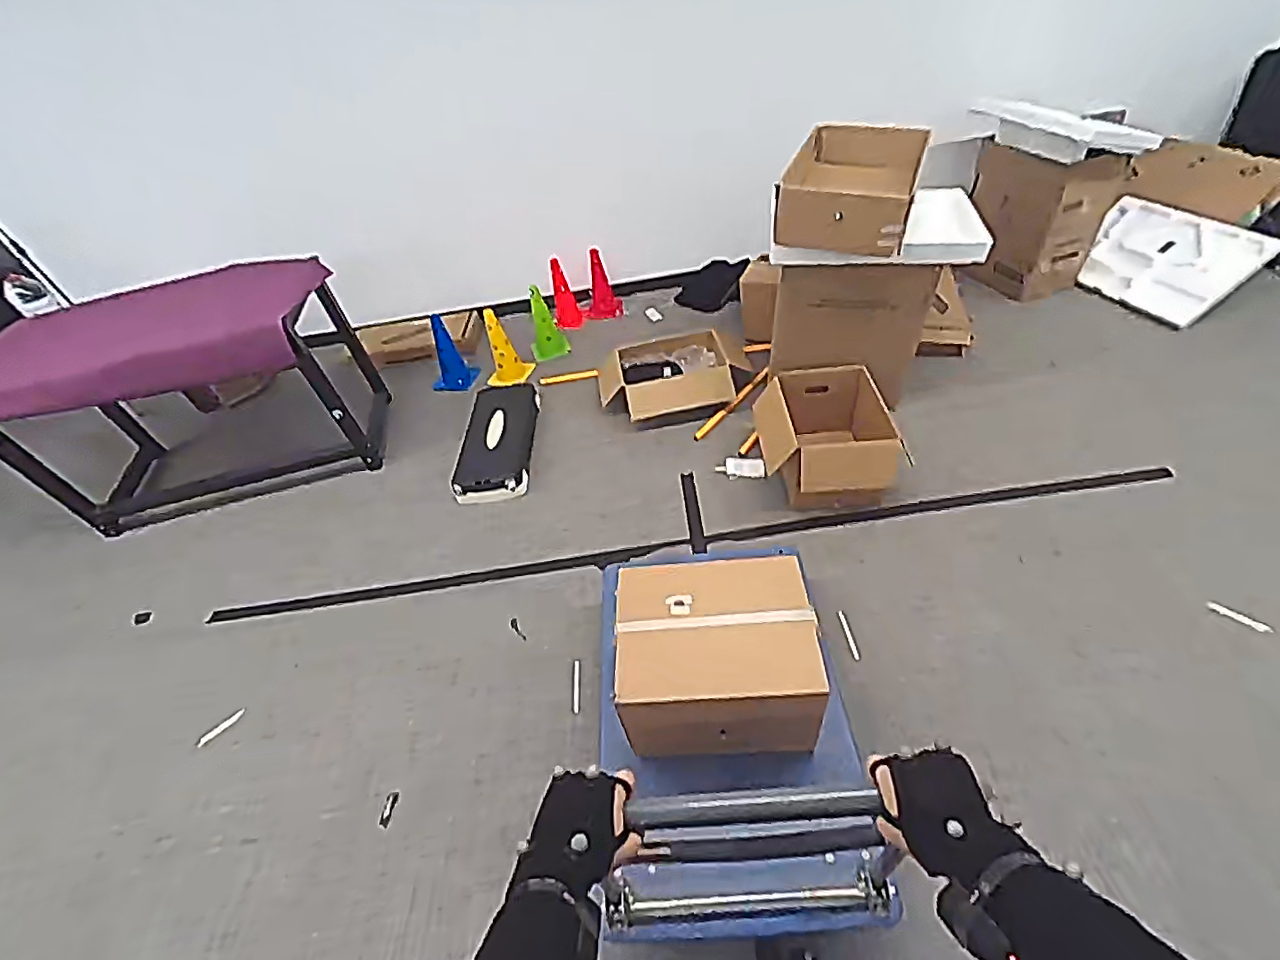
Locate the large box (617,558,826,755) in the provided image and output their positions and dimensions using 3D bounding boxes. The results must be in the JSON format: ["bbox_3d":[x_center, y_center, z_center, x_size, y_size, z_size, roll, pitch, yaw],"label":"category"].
[{"bbox_3d":[0.173,0.408,1.235,0.408,0.320,0.320,-6,44,6],"label":"large box"}]
